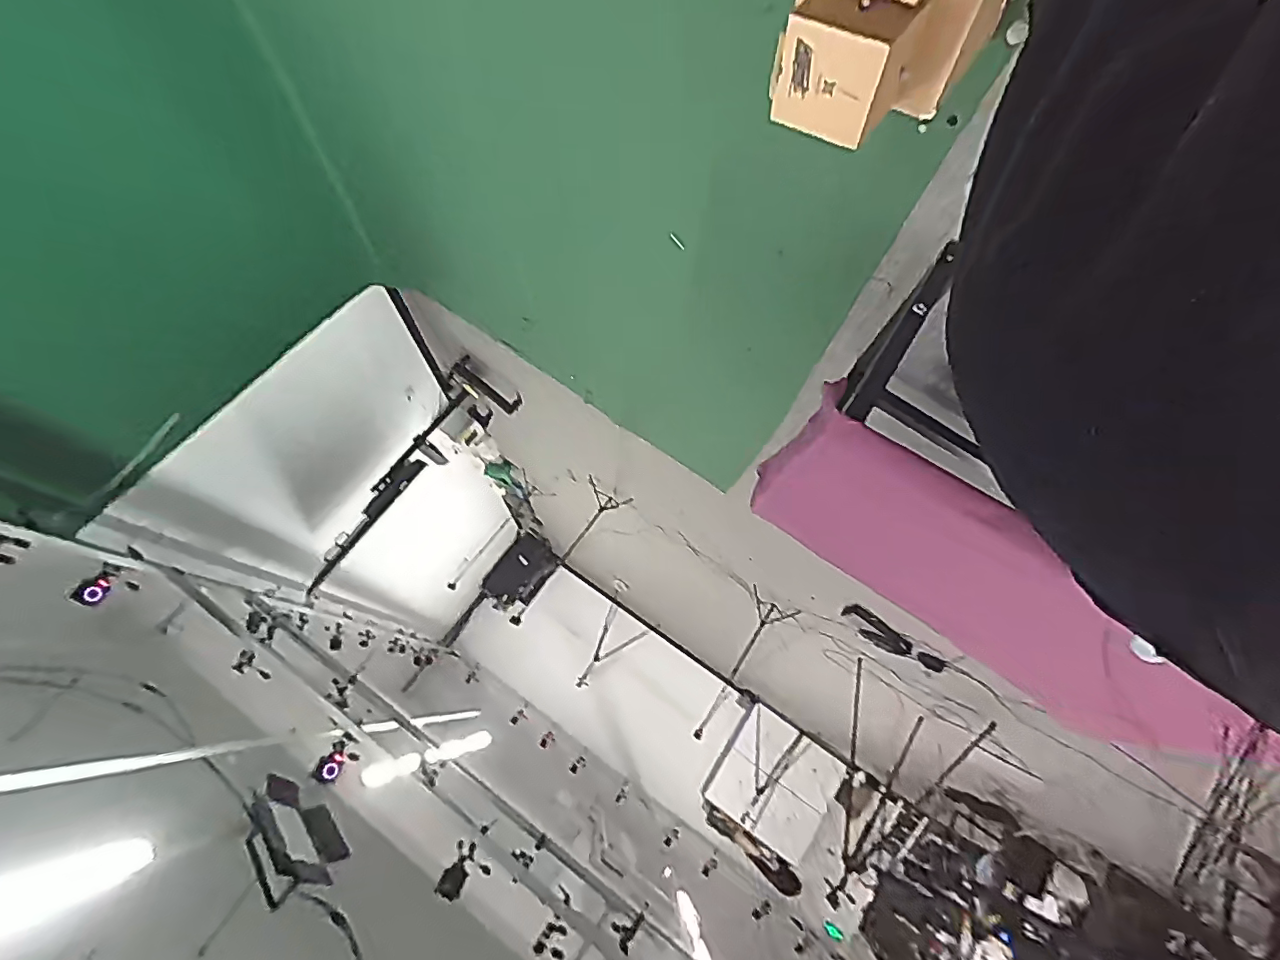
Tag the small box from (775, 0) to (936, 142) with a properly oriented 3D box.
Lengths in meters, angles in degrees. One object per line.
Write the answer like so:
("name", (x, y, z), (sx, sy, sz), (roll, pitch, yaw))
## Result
("small box", (0.364, -0.734, 0.930), (0.179, 0.176, 0.168), (32, 160, 15))
